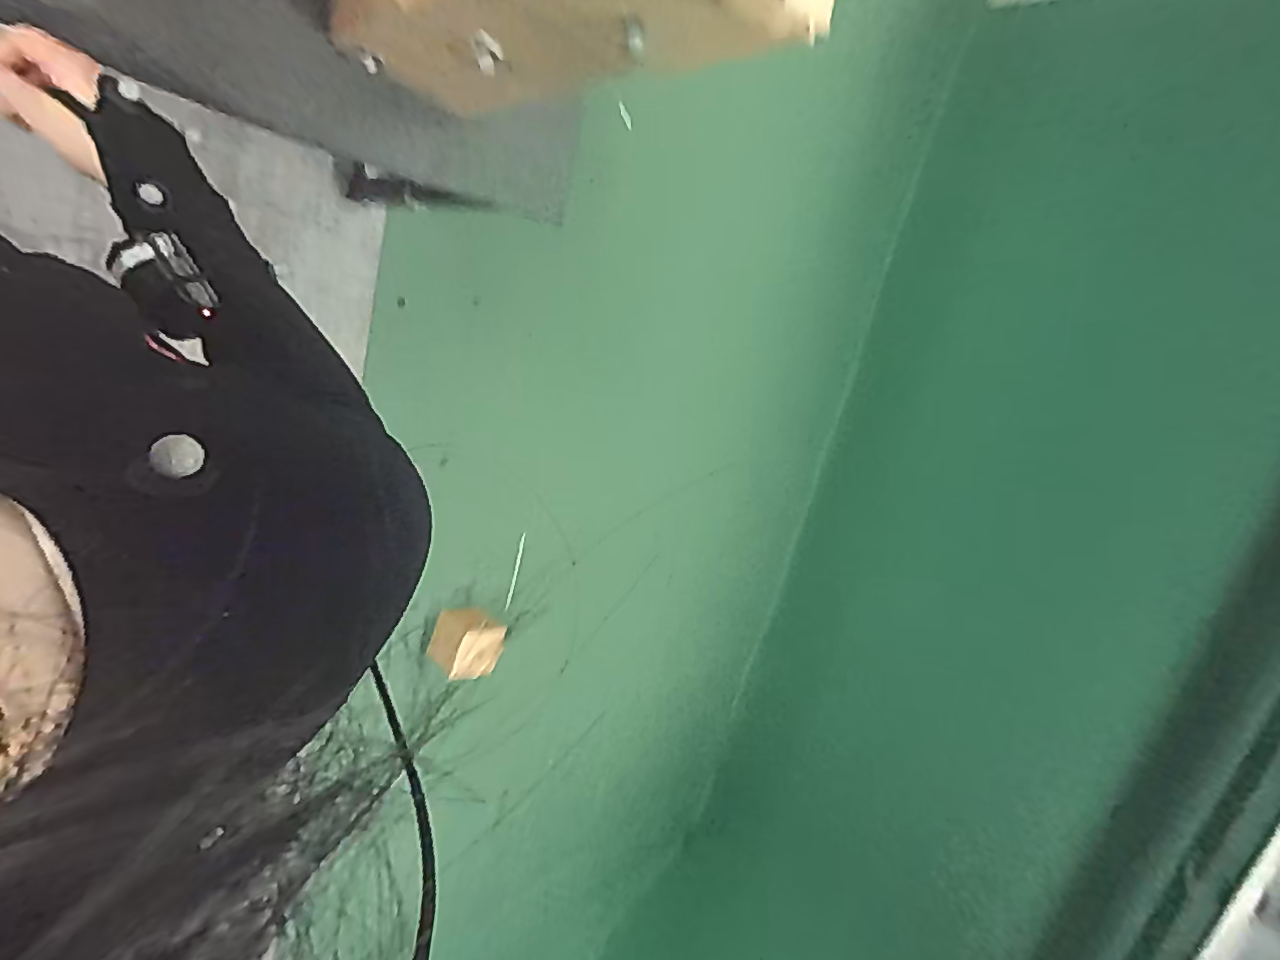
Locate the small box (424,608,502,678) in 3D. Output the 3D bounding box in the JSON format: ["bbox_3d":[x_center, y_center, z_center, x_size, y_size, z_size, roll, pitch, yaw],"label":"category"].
[{"bbox_3d":[-0.621,0.560,1.880,0.179,0.176,0.168,12,100,-52],"label":"small box"}]

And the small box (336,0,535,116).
[{"bbox_3d":[-0.206,-0.528,0.582,0.168,0.176,0.179,1,105,-49],"label":"small box"}]
